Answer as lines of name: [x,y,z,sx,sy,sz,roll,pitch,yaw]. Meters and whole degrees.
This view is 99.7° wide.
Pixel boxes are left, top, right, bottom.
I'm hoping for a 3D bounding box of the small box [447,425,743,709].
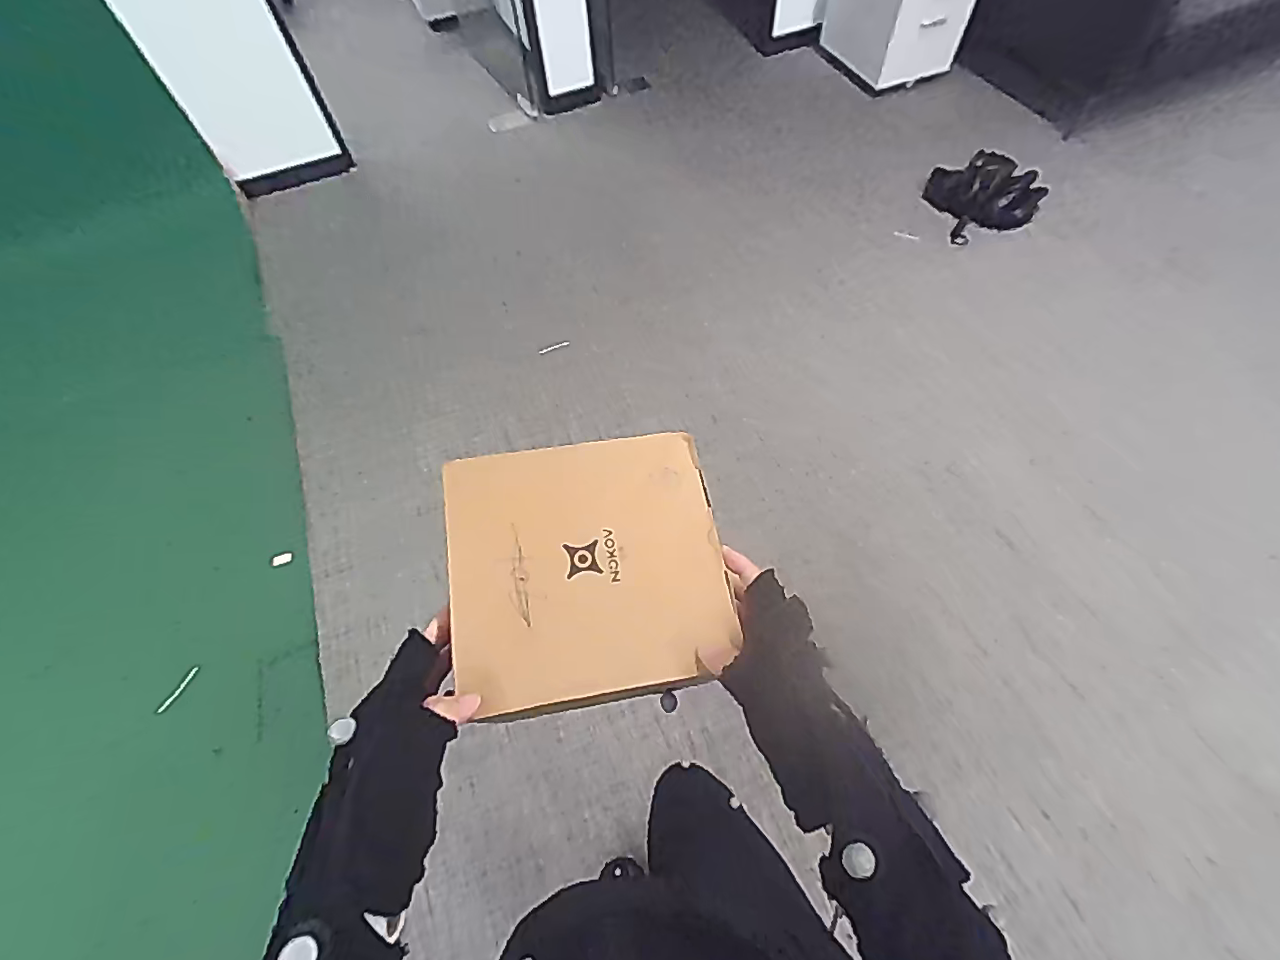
small box: [-0.039,0.077,0.427,0.179,0.176,0.168,-9,67,-7]
